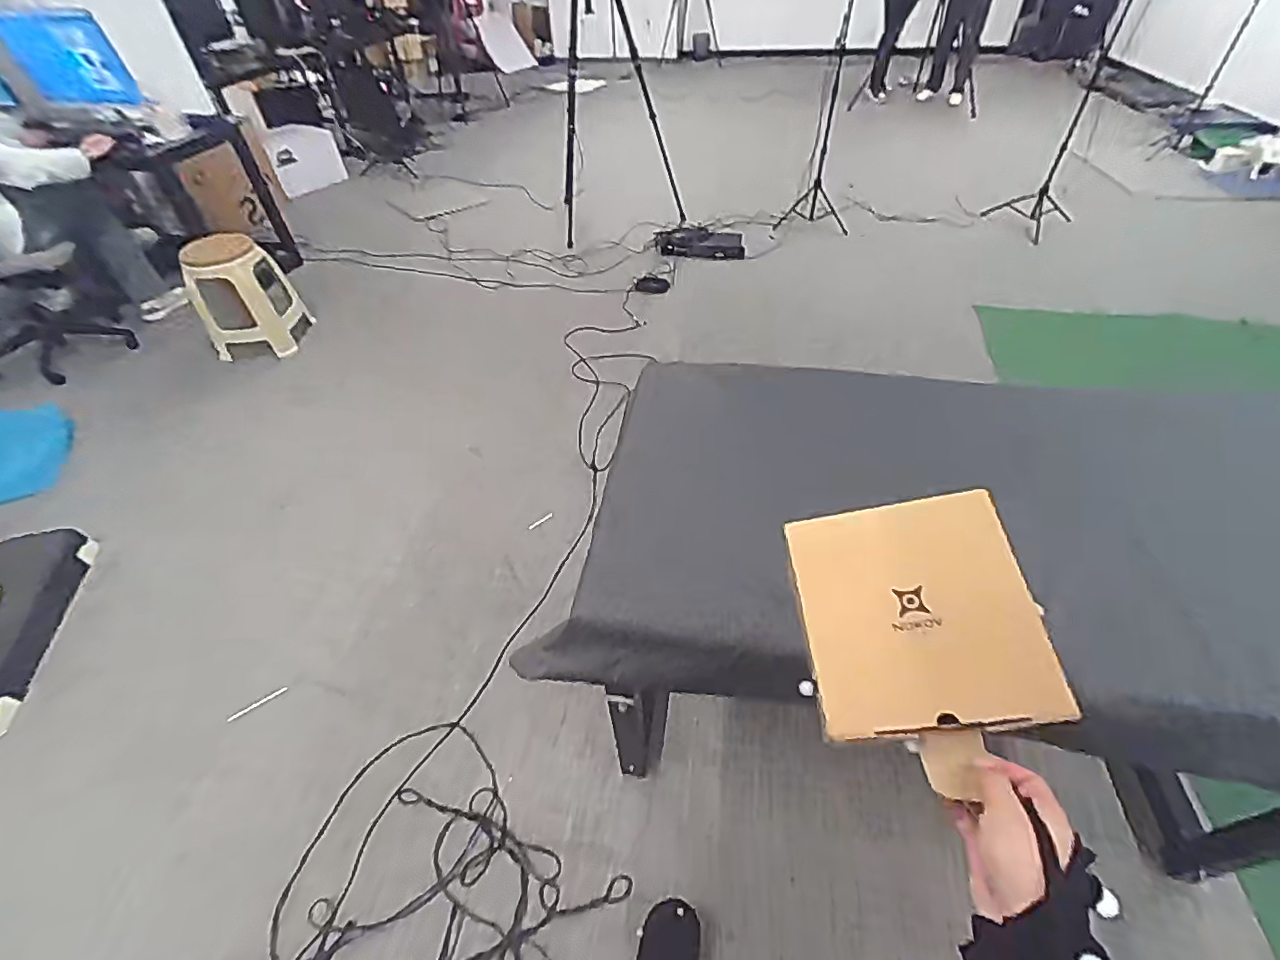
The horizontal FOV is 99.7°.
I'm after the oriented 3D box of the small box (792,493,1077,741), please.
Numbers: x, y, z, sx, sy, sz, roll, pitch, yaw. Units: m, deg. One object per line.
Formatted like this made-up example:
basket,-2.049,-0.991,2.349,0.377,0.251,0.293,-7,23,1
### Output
small box,0.239,0.135,0.499,0.168,0.176,0.179,-11,61,10
